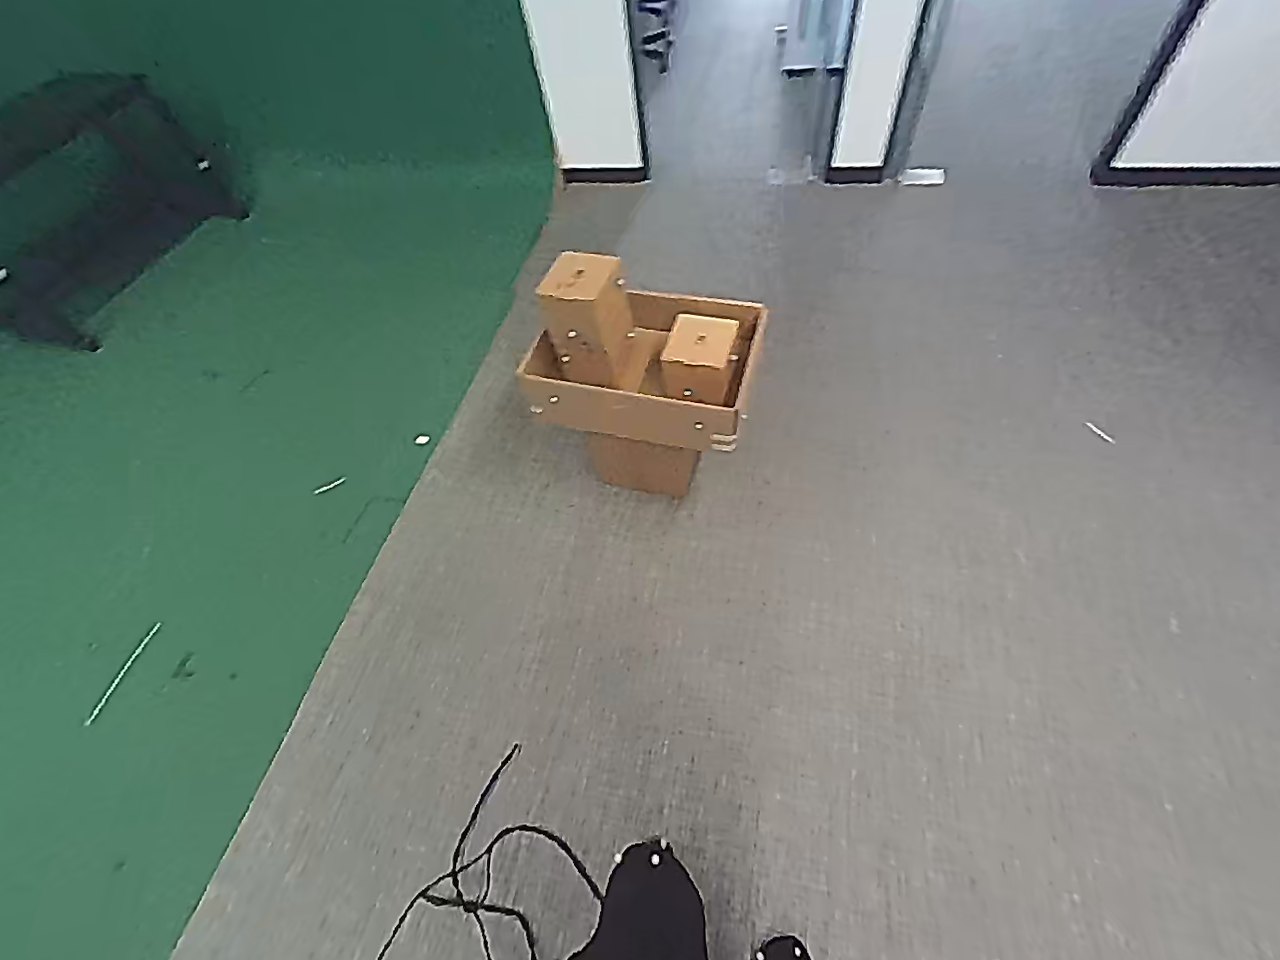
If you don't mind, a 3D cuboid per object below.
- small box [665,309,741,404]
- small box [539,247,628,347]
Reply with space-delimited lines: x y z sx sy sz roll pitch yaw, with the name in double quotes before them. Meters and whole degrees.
"small box" 0.175 -0.338 1.481 0.168 0.176 0.179 12 62 15
"small box" -0.139 -0.480 1.422 0.168 0.176 0.179 13 61 17
